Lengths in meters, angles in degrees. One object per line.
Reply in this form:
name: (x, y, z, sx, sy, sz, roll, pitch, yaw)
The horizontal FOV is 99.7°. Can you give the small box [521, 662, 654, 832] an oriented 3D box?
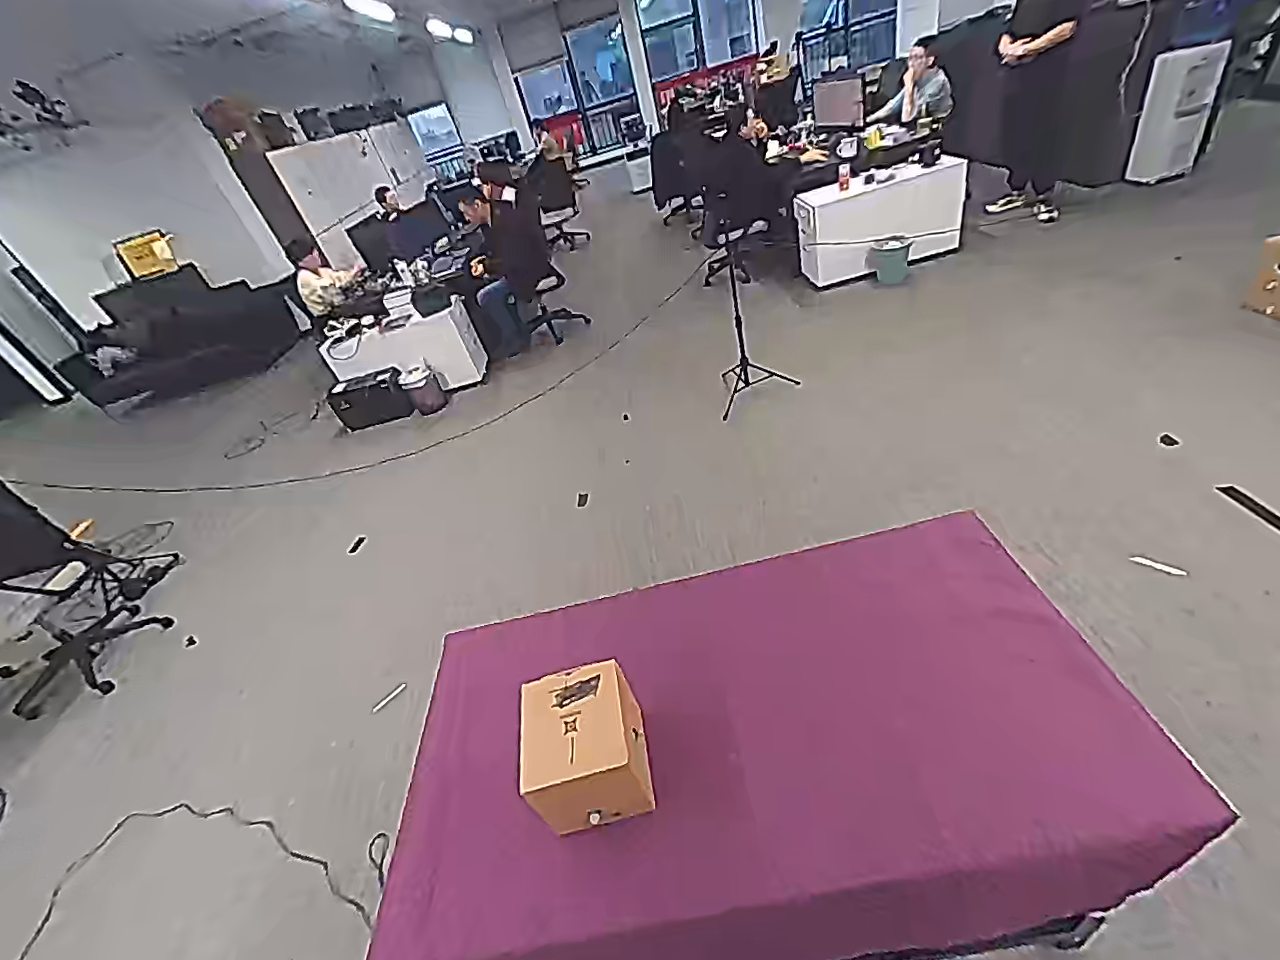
small box: (-0.084, 0.437, 0.887, 0.168, 0.176, 0.179, -17, 37, 2)
